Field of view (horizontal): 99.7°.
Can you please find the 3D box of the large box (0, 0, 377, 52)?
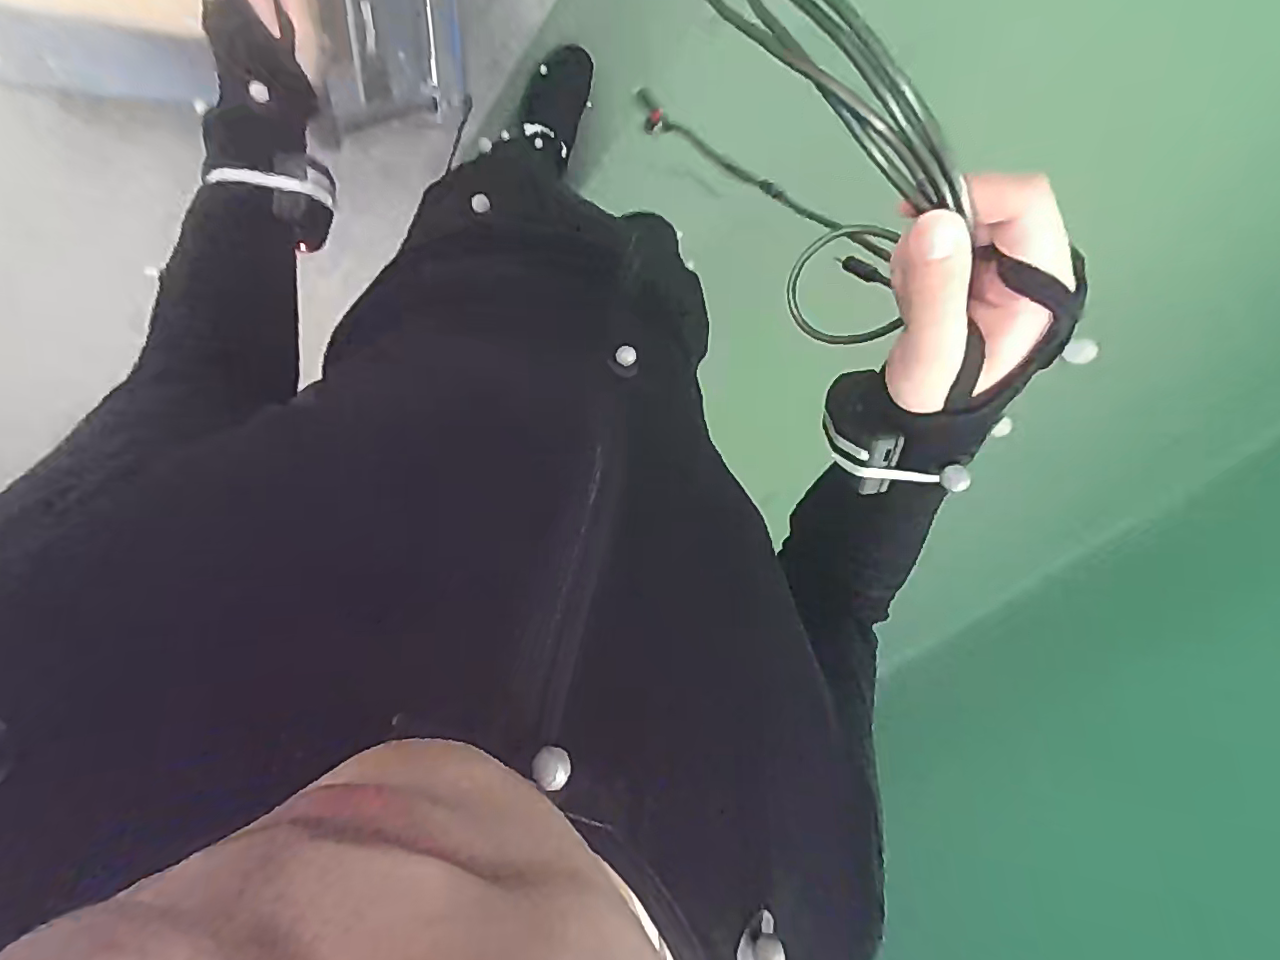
[{"bbox_3d":[-0.620,-0.803,0.721,0.408,0.320,0.320,2,128,-12],"label":"large box"}]
